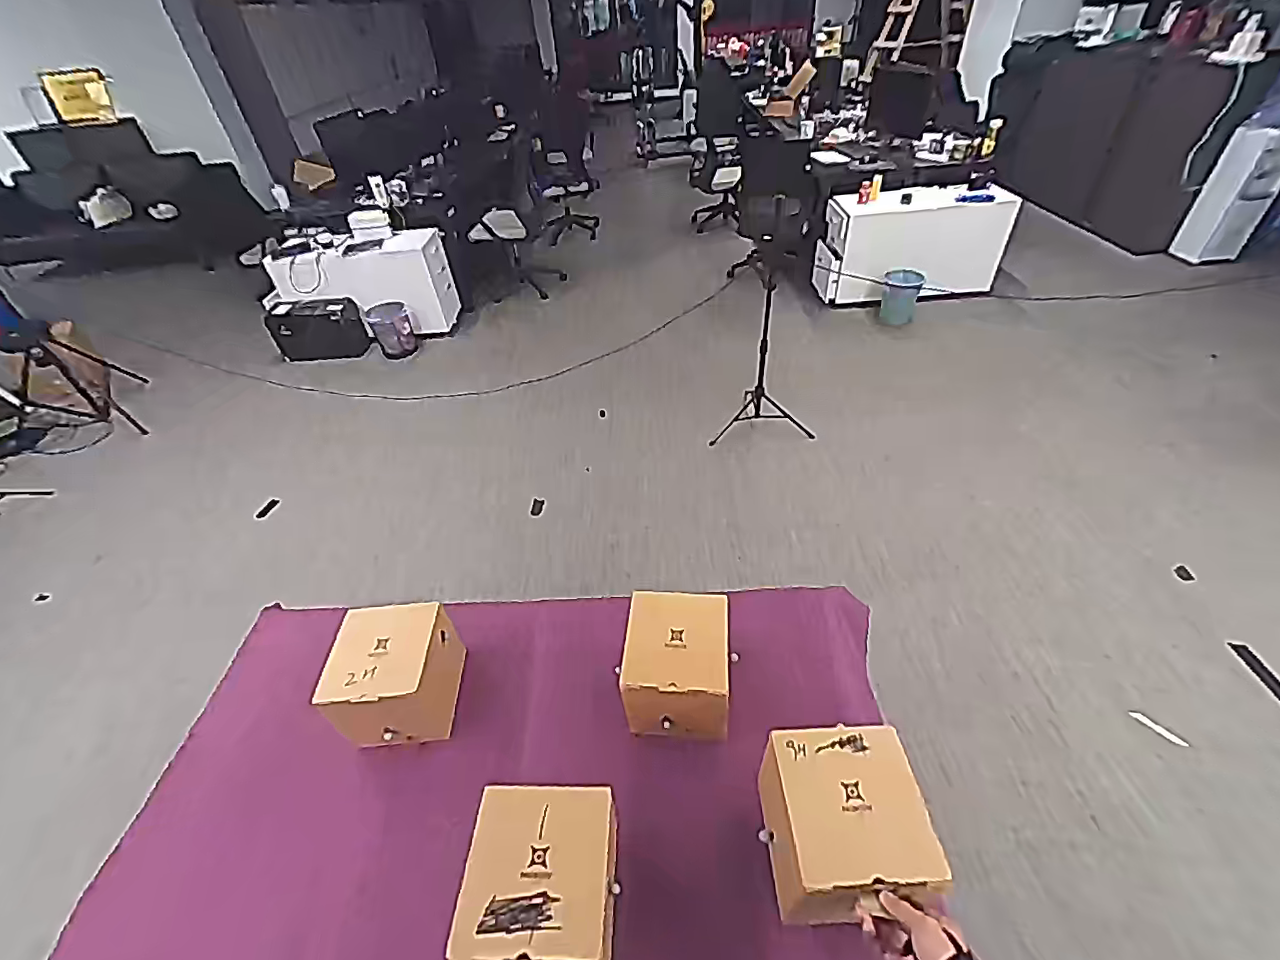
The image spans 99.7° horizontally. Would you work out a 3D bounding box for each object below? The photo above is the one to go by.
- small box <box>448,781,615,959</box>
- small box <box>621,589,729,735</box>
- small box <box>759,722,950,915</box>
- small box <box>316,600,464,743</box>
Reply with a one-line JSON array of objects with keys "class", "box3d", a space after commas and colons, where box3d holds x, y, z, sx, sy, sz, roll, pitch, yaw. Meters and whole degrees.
[{"class": "small box", "box3d": [-0.120, 0.506, 0.686, 0.168, 0.176, 0.179, 0, 43, 1]}, {"class": "small box", "box3d": [0.066, 0.309, 0.926, 0.168, 0.176, 0.179, 1, 44, 8]}, {"class": "small box", "box3d": [0.257, 0.438, 0.697, 0.168, 0.176, 0.179, -2, 40, 0]}, {"class": "small box", "box3d": [-0.421, 0.335, 0.950, 0.168, 0.176, 0.179, -5, 42, 0]}]
